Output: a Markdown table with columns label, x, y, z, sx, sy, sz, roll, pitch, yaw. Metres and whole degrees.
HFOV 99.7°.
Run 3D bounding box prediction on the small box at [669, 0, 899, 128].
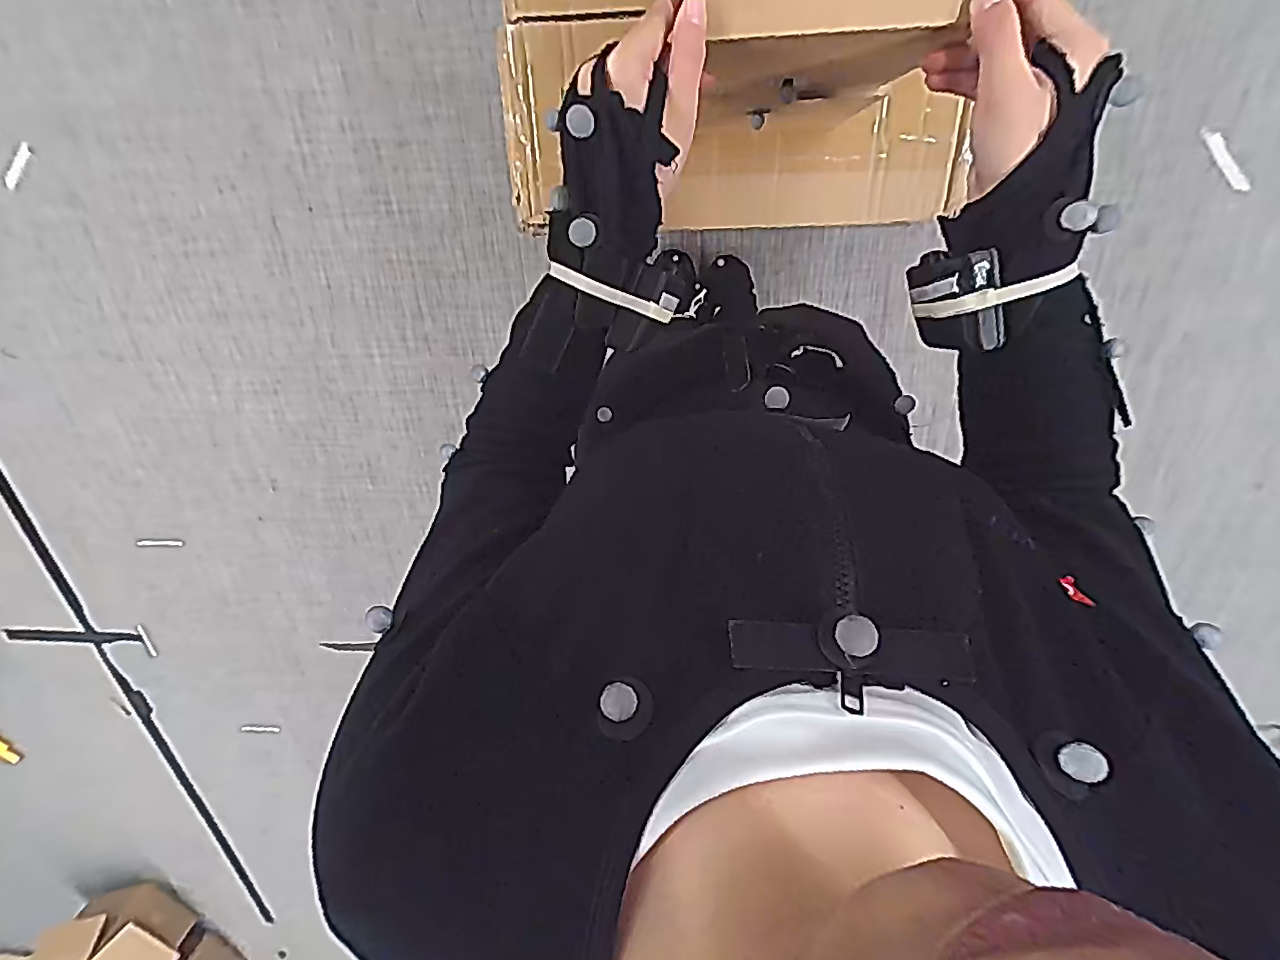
| label | x | y | z | sx | sy | sz | roll | pitch | yaw |
| --- | --- | --- | --- | --- | --- | --- | --- | --- | --- |
| small box | 0.117 | -0.422 | 0.478 | 0.179 | 0.176 | 0.168 | 0 | 116 | 4 |
